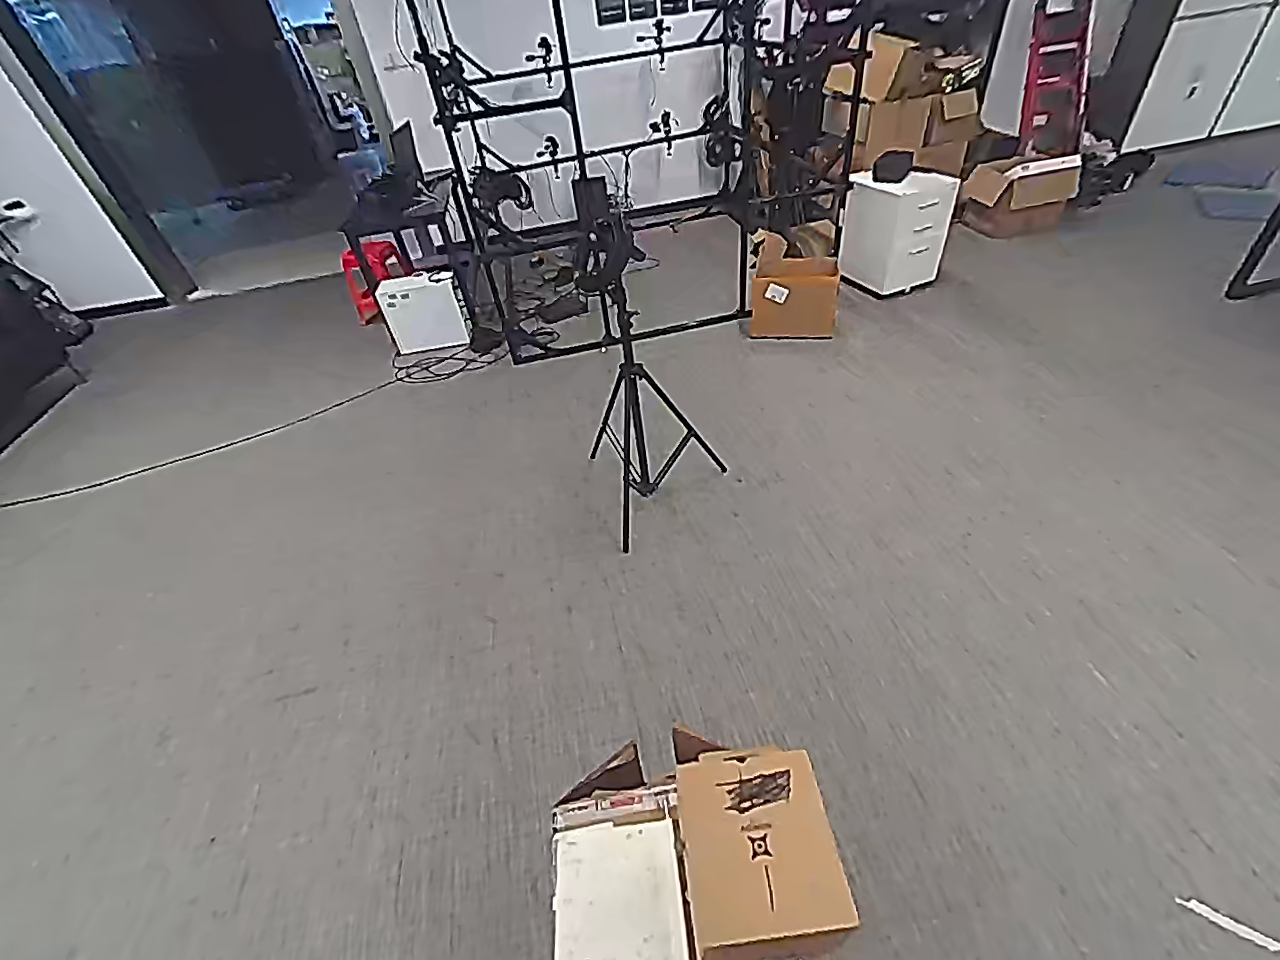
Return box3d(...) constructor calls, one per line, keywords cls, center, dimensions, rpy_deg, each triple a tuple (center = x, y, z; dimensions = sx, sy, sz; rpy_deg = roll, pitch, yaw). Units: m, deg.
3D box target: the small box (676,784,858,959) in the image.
box3d(cls="small box", center=(0.134, 0.494, 0.645), dimensions=(0.168, 0.176, 0.179), rpy_deg=(-6, 43, -2))
